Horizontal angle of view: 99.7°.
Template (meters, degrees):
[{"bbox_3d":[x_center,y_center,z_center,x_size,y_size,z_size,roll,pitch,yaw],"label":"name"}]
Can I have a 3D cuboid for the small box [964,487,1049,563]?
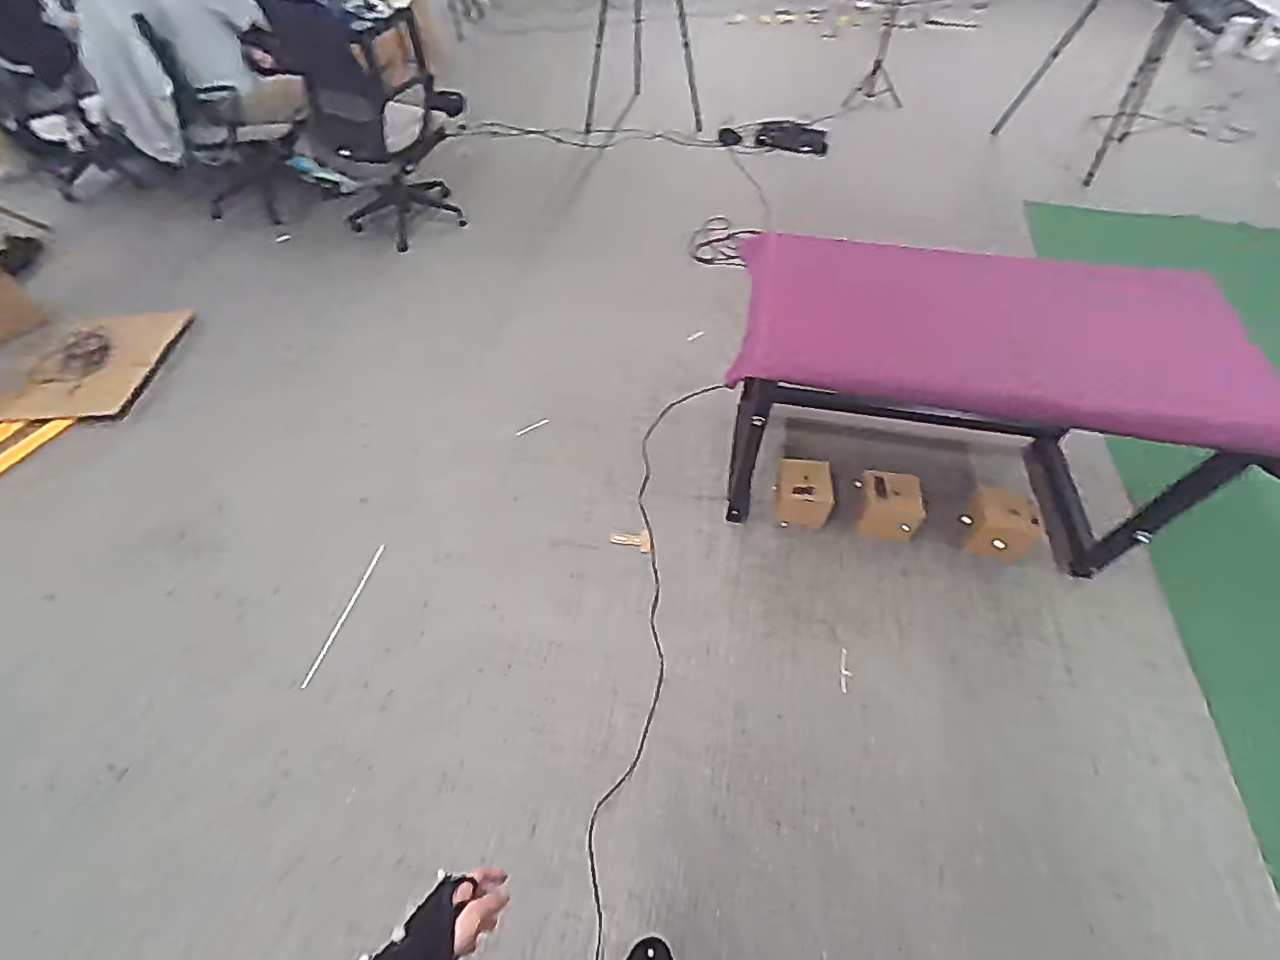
[{"bbox_3d":[1.182,0.151,1.762,0.179,0.176,0.168,11,54,10],"label":"small box"}]

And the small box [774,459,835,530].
[{"bbox_3d":[0.556,0.052,1.846,0.168,0.176,0.179,5,53,5],"label":"small box"}]
